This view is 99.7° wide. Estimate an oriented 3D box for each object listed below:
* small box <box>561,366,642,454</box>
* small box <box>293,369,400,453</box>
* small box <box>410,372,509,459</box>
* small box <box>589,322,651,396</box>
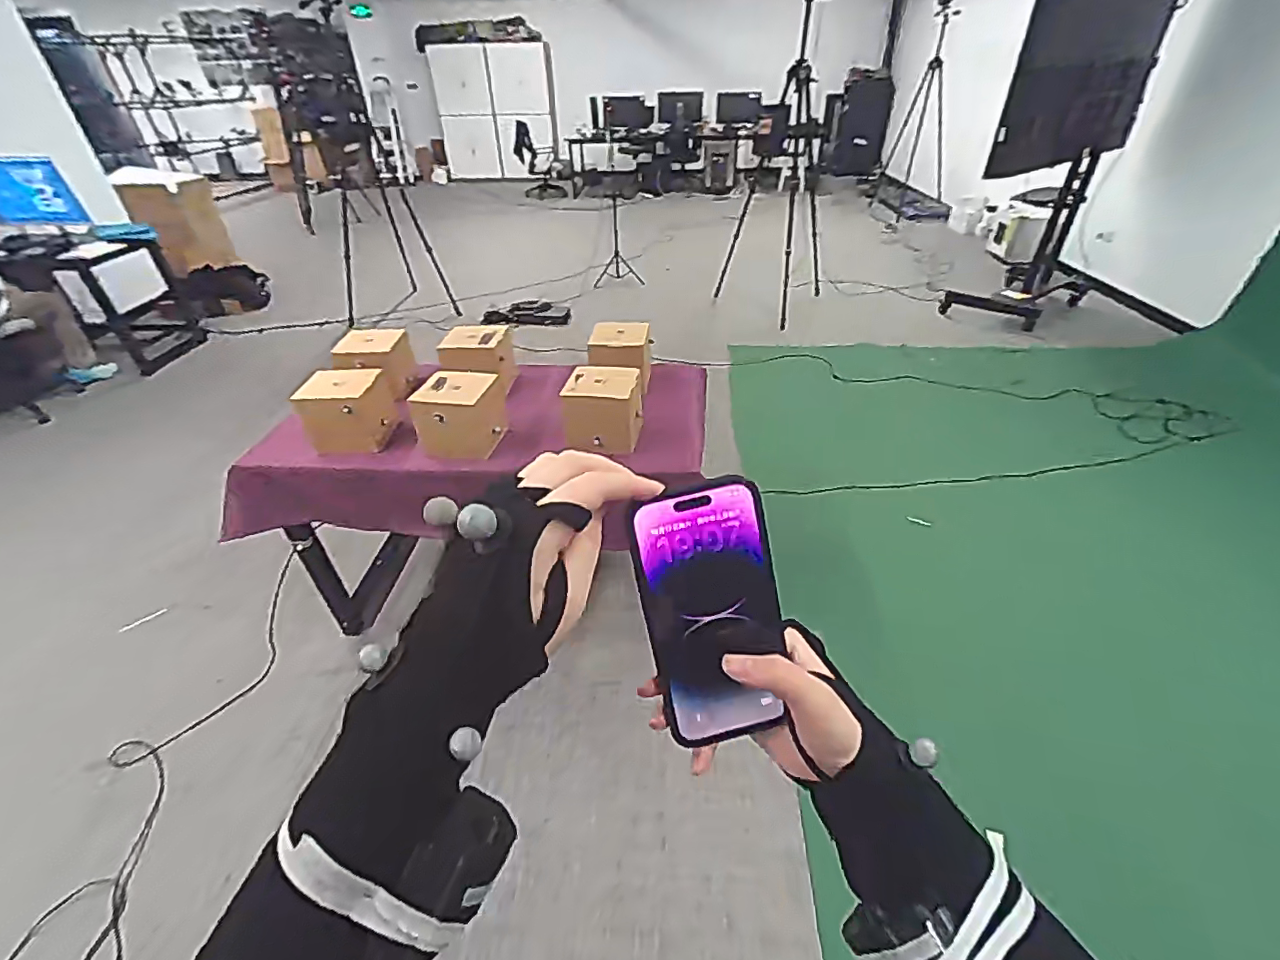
[{"bbox_3d":[-0.093,-0.182,1.418,0.179,0.176,0.168,6,37,9],"label":"small box"},{"bbox_3d":[-0.775,-0.183,1.448,0.179,0.176,0.168,-1,37,-2],"label":"small box"},{"bbox_3d":[-0.463,-0.169,1.415,0.179,0.176,0.168,5,38,8],"label":"small box"},{"bbox_3d":[-0.056,-0.372,1.665,0.168,0.176,0.179,3,38,7],"label":"small box"}]
